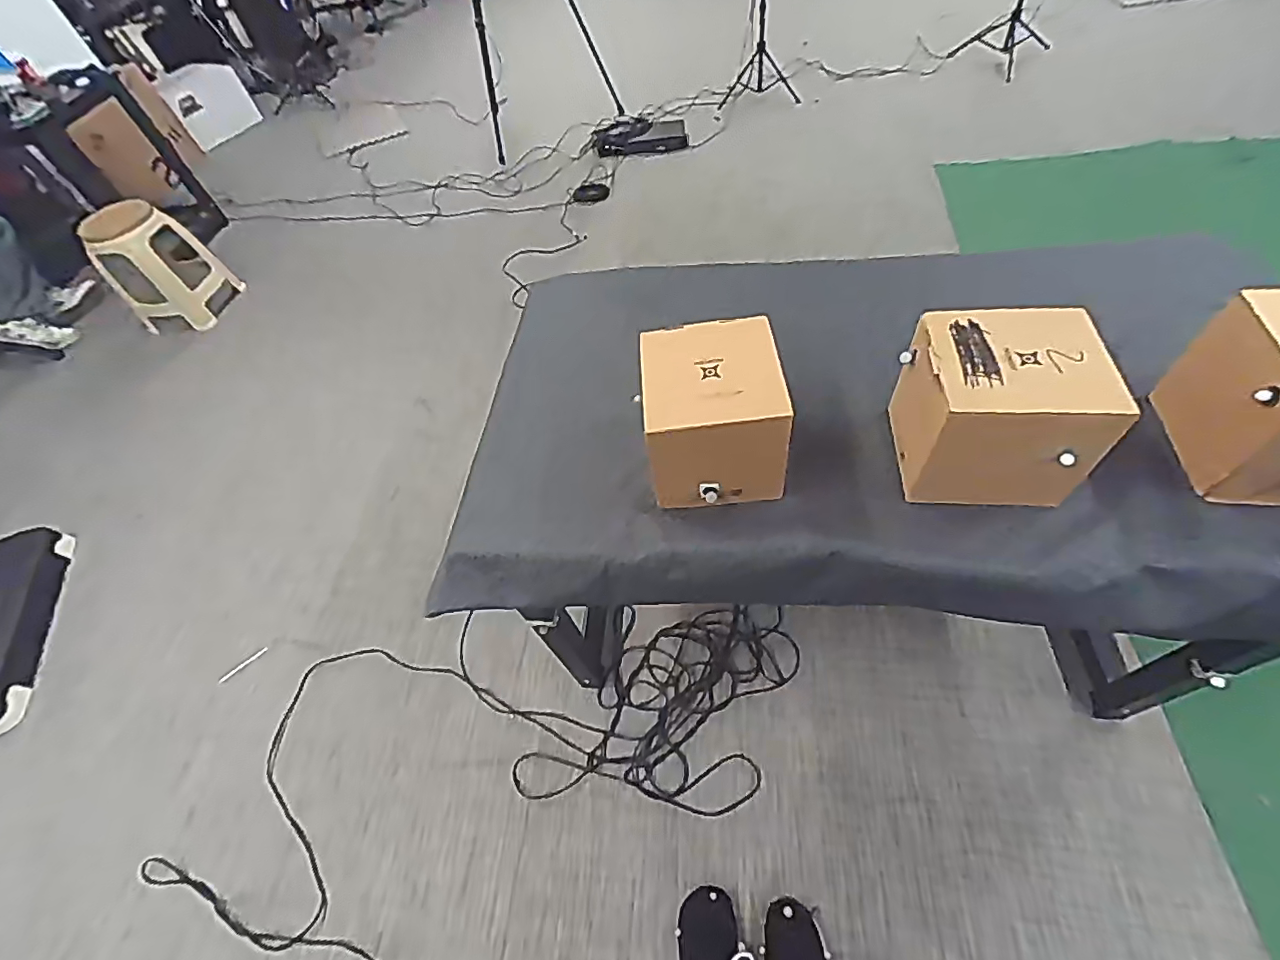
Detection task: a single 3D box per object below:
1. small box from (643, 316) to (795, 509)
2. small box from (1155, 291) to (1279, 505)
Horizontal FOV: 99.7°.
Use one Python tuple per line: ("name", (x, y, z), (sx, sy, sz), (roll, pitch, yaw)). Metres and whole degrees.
("small box", (0.097, -0.084, 0.706), (0.168, 0.176, 0.179), (-7, 54, 6))
("small box", (0.740, -0.088, 0.601), (0.168, 0.176, 0.179), (3, 55, 12))
